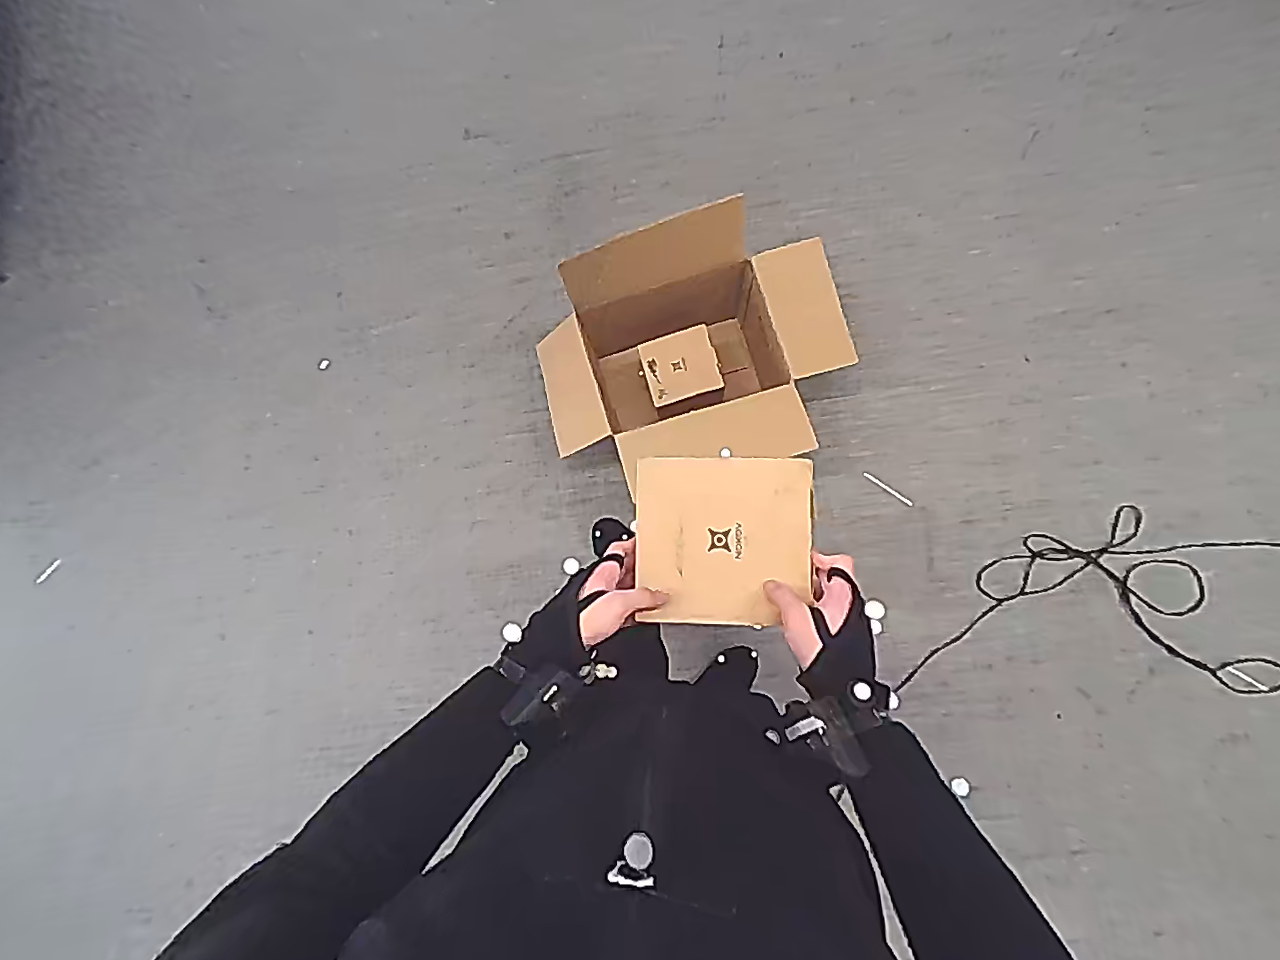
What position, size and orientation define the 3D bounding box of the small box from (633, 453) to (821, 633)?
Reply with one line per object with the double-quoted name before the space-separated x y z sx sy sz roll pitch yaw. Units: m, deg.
"small box" 0.090 0.068 0.600 0.179 0.176 0.168 3 83 5
